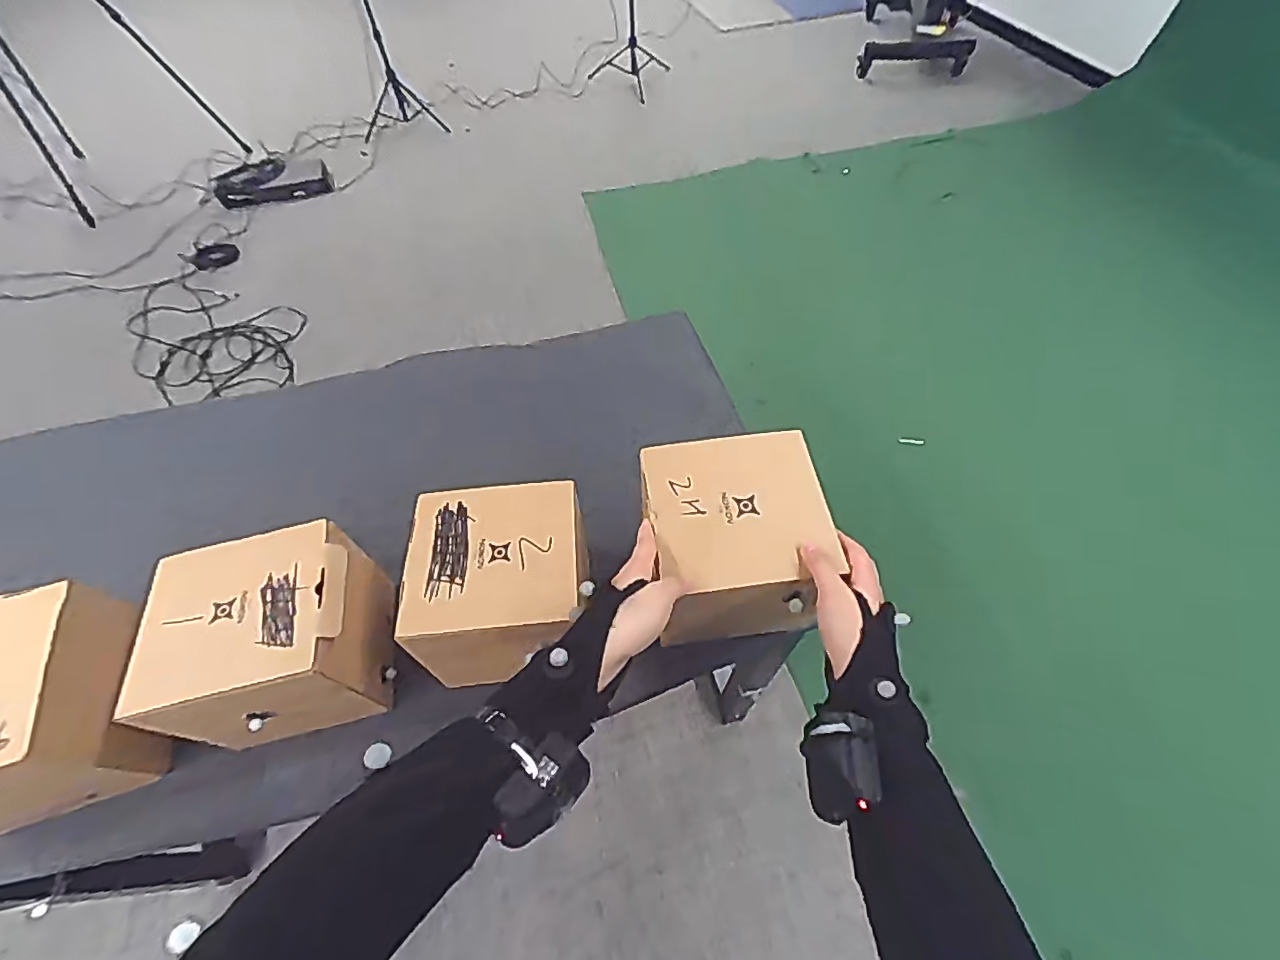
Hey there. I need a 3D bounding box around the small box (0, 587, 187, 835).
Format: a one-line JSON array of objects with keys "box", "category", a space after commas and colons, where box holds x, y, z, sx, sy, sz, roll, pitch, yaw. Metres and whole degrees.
[{"box": [-0.618, 0.241, 0.557, 0.168, 0.176, 0.179, -16, 57, -8], "category": "small box"}]
